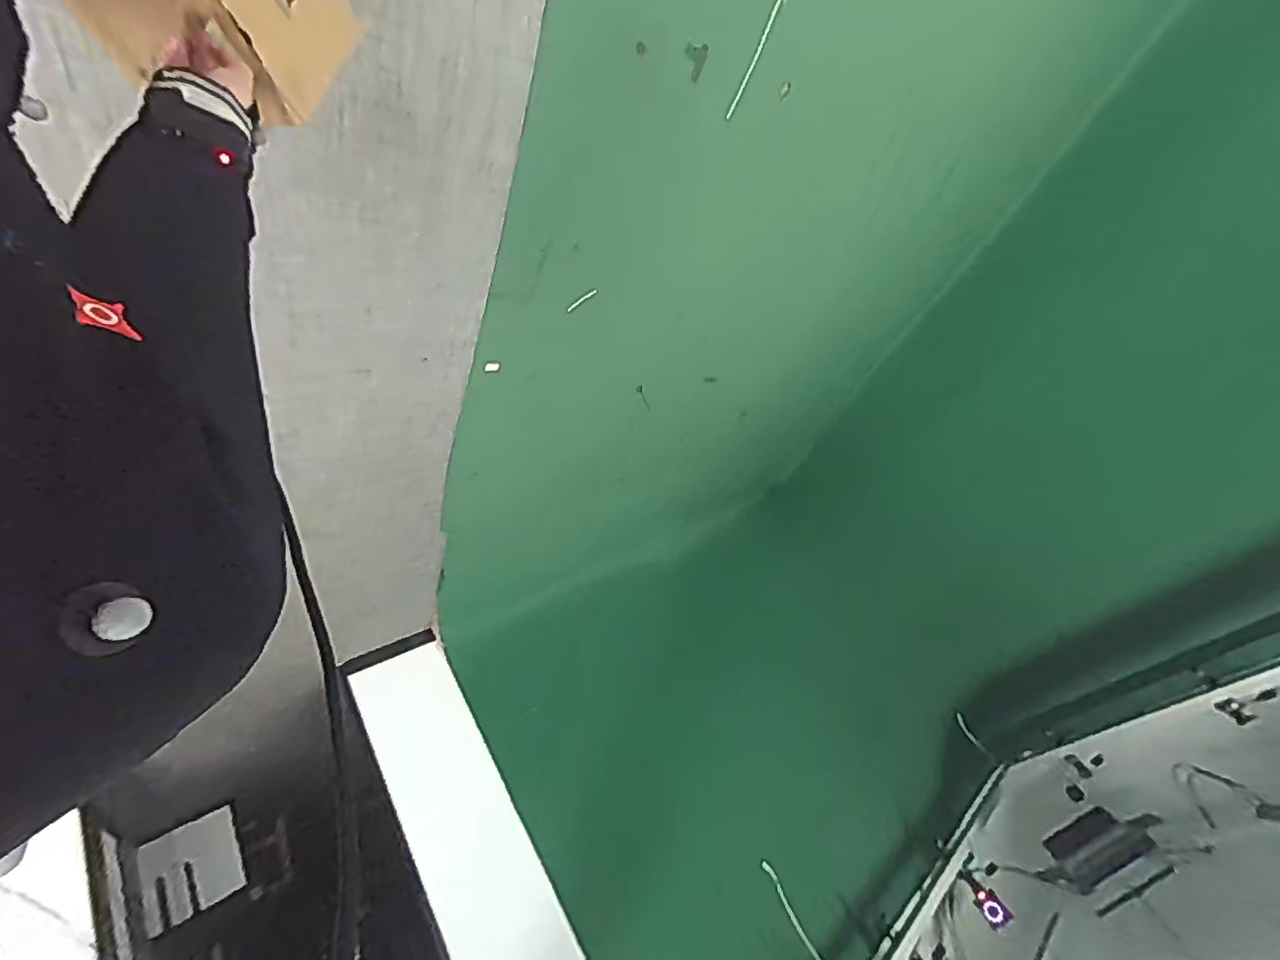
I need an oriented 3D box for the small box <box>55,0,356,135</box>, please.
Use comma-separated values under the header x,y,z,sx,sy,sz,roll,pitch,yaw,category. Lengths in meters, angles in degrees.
x,y,z,sx,sy,sz,roll,pitch,yaw,category
-0.433,-0.476,0.541,0.176,0.179,0.168,2,153,8,small box
